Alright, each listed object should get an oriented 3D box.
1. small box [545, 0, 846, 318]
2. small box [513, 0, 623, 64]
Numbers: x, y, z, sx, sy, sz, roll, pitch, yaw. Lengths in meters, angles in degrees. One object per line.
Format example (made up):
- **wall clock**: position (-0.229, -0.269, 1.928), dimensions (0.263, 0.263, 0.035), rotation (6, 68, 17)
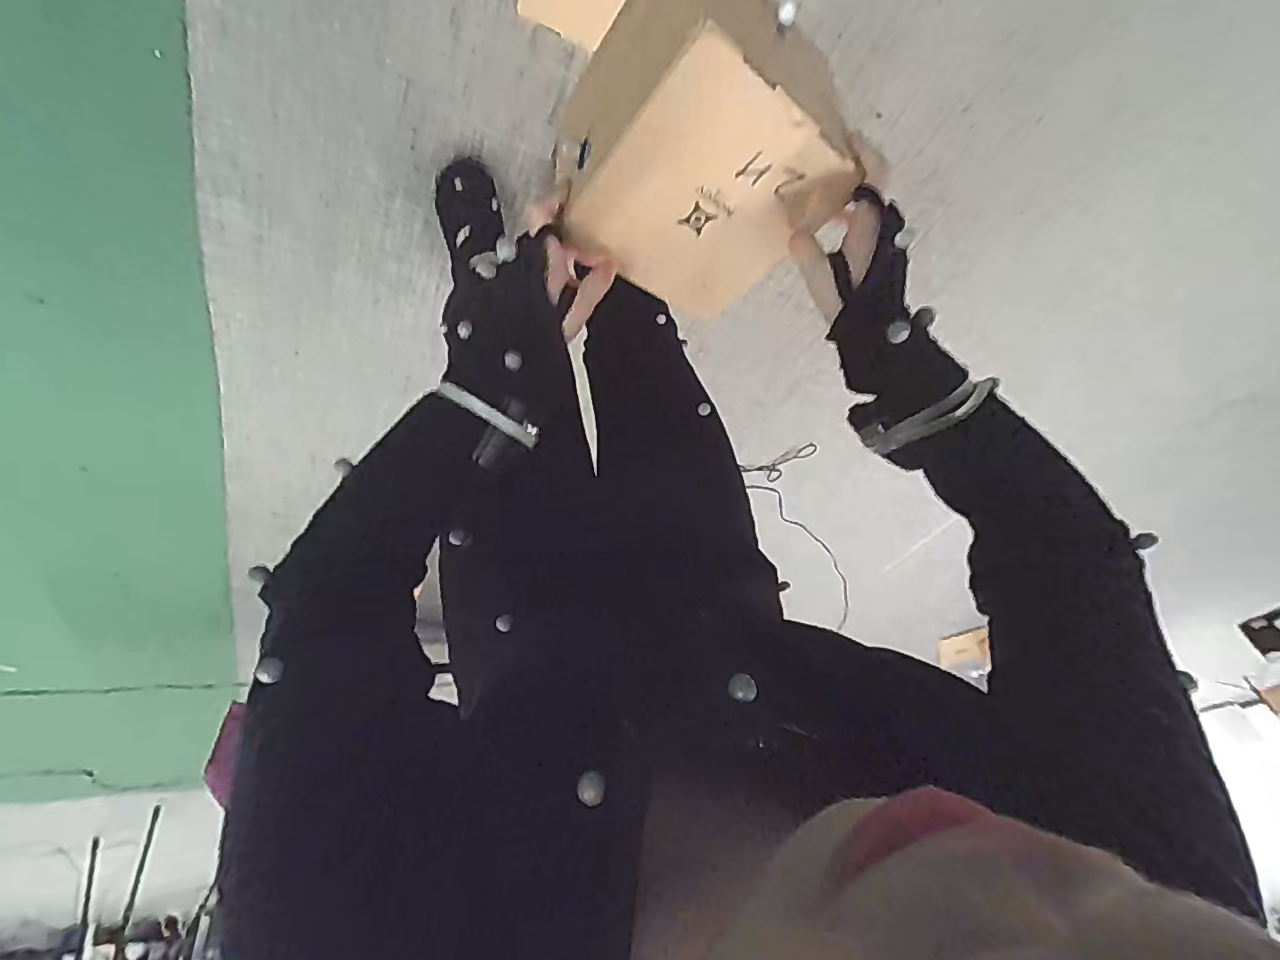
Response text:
- **small box**: position (0.039, -0.279, 0.451), dimensions (0.168, 0.176, 0.179), rotation (17, 148, -33)
- **small box**: position (-0.068, -0.690, 0.727), dimensions (0.168, 0.176, 0.179), rotation (10, 135, -26)
